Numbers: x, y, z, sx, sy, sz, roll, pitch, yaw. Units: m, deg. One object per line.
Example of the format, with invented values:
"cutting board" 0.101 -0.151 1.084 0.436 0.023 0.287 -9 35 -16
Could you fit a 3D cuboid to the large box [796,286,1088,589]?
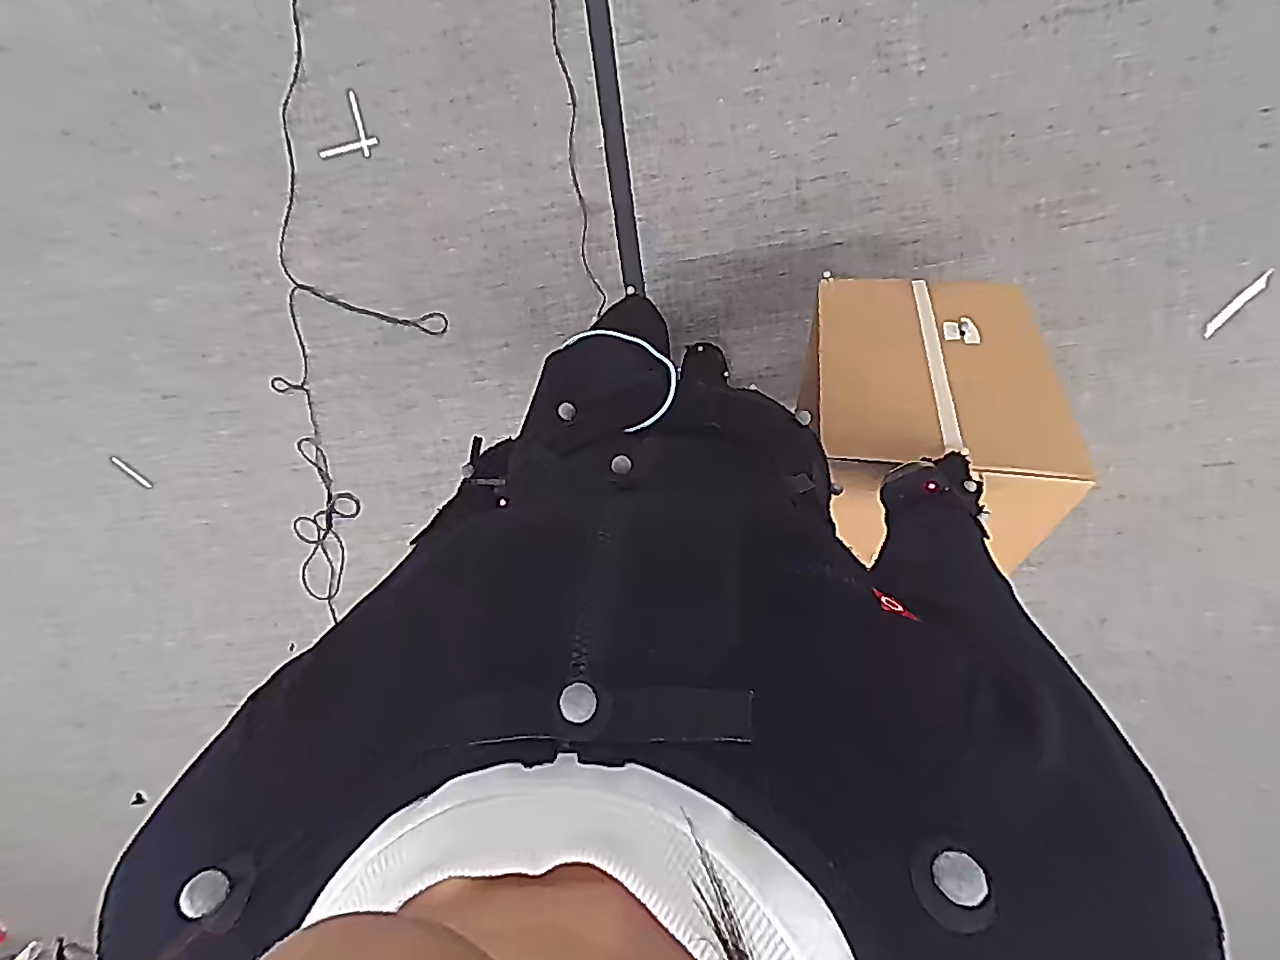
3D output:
"large box" 0.437 -0.073 0.908 0.320 0.408 0.320 6 142 10
